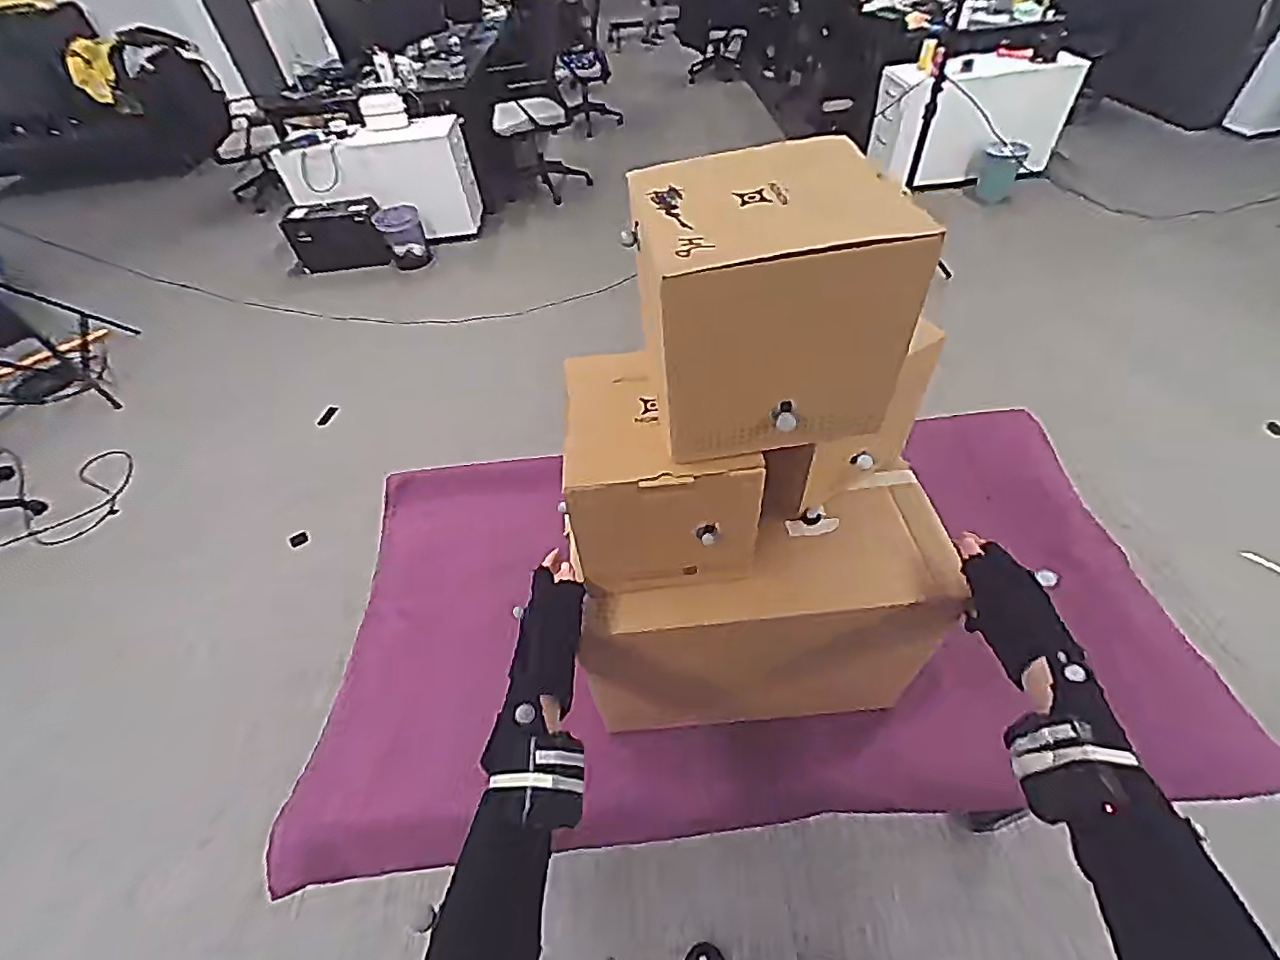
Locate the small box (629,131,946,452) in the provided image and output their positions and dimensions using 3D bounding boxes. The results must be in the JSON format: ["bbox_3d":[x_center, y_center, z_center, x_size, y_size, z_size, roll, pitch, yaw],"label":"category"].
[{"bbox_3d":[0.092,-0.143,0.425,0.179,0.176,0.168,-9,49,-1],"label":"small box"}]

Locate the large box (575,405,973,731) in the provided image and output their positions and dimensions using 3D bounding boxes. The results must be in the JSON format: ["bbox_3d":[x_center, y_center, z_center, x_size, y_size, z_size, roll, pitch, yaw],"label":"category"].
[{"bbox_3d":[0.129,0.116,0.738,0.408,0.320,0.320,-6,50,-1],"label":"large box"}]

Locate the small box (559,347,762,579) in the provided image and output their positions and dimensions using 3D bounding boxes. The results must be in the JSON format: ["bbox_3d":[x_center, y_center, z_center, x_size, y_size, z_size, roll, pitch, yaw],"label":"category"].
[{"bbox_3d":[0.015,-0.014,0.539,0.168,0.176,0.179,-6,47,-2],"label":"small box"}]
